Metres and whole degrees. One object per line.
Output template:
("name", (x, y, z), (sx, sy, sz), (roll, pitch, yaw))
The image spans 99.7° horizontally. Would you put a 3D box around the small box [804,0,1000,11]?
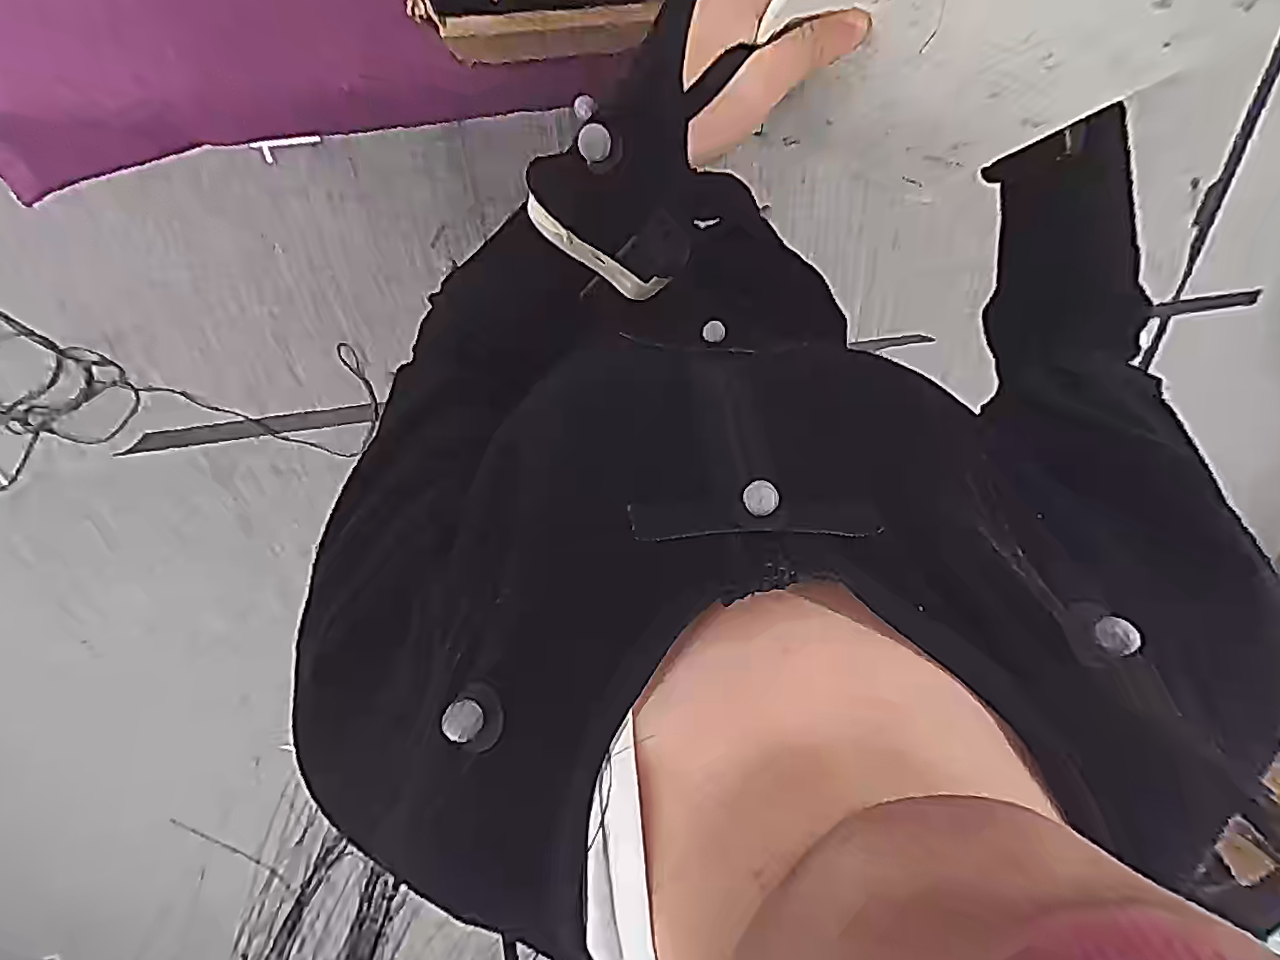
("small box", (0.170, -0.336, 0.243), (0.168, 0.176, 0.179), (-7, 124, -3))
